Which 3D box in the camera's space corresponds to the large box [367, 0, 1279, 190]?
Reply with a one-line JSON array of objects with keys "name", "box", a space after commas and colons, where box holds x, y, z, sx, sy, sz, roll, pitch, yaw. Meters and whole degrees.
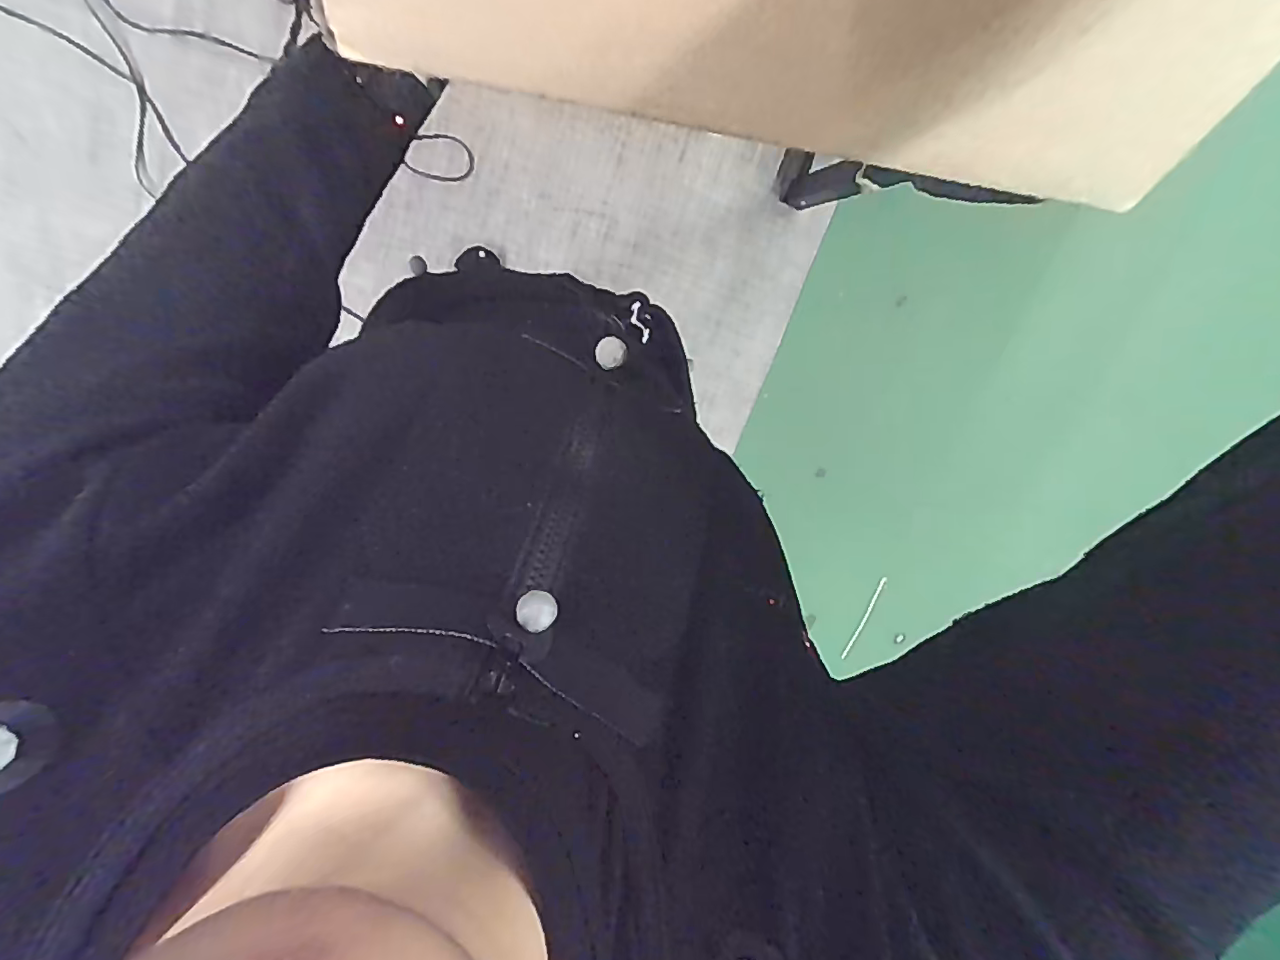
[{"name": "large box", "box": [0.095, -0.374, 0.226, 0.408, 0.320, 0.320, 4, 149, -7]}]
